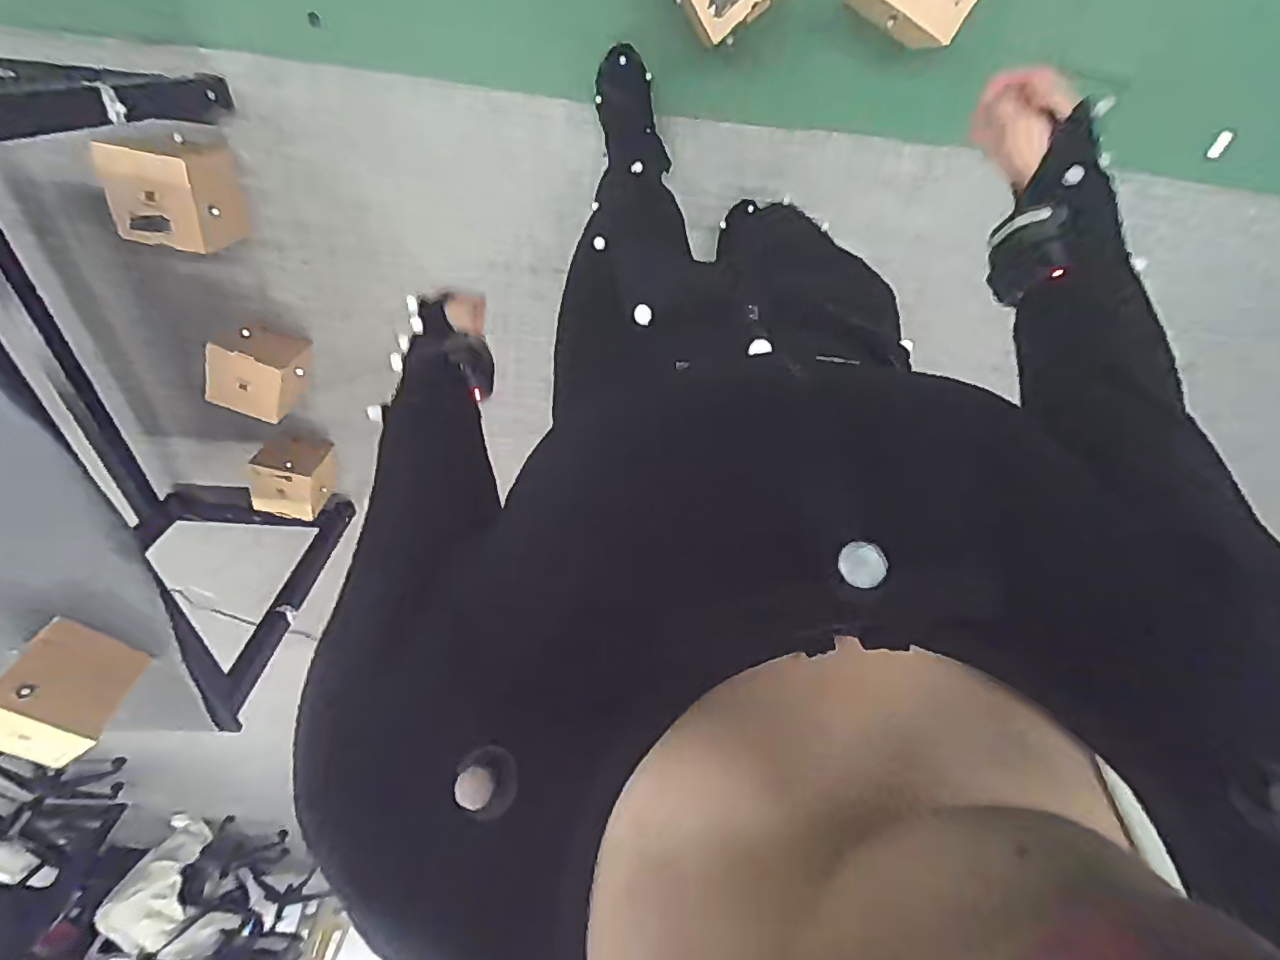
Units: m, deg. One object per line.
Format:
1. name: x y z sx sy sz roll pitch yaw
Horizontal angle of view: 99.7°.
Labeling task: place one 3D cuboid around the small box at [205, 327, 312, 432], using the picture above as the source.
1. small box: -0.963 -0.259 1.373 0.168 0.176 0.179 21 126 -16

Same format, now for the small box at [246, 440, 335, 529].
1. small box: -1.013 0.013 1.584 0.168 0.176 0.179 14 127 -12

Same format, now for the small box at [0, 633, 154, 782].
1. small box: -1.041 0.404 0.966 0.168 0.176 0.179 -31 122 21

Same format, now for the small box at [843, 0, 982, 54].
1. small box: 0.485 -0.870 0.931 0.179 0.176 0.168 20 125 -17

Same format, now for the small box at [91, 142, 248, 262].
1. small box: -0.957 -0.579 1.123 0.168 0.176 0.179 8 126 -8
